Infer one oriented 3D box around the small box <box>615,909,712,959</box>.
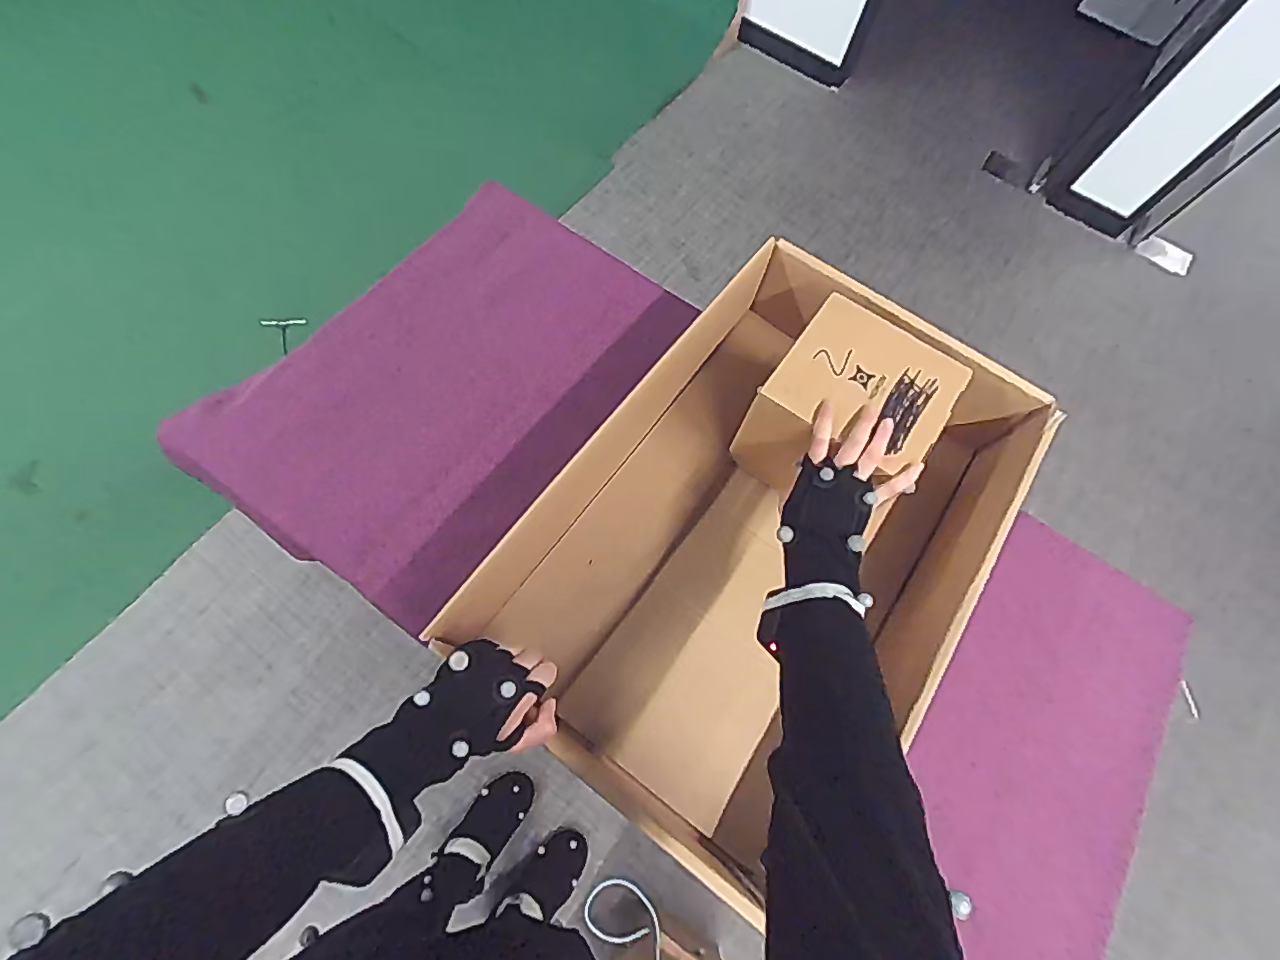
[{"bbox_3d":[0.047,0.993,1.053,0.179,0.176,0.168,33,70,9],"label":"small box"}]
